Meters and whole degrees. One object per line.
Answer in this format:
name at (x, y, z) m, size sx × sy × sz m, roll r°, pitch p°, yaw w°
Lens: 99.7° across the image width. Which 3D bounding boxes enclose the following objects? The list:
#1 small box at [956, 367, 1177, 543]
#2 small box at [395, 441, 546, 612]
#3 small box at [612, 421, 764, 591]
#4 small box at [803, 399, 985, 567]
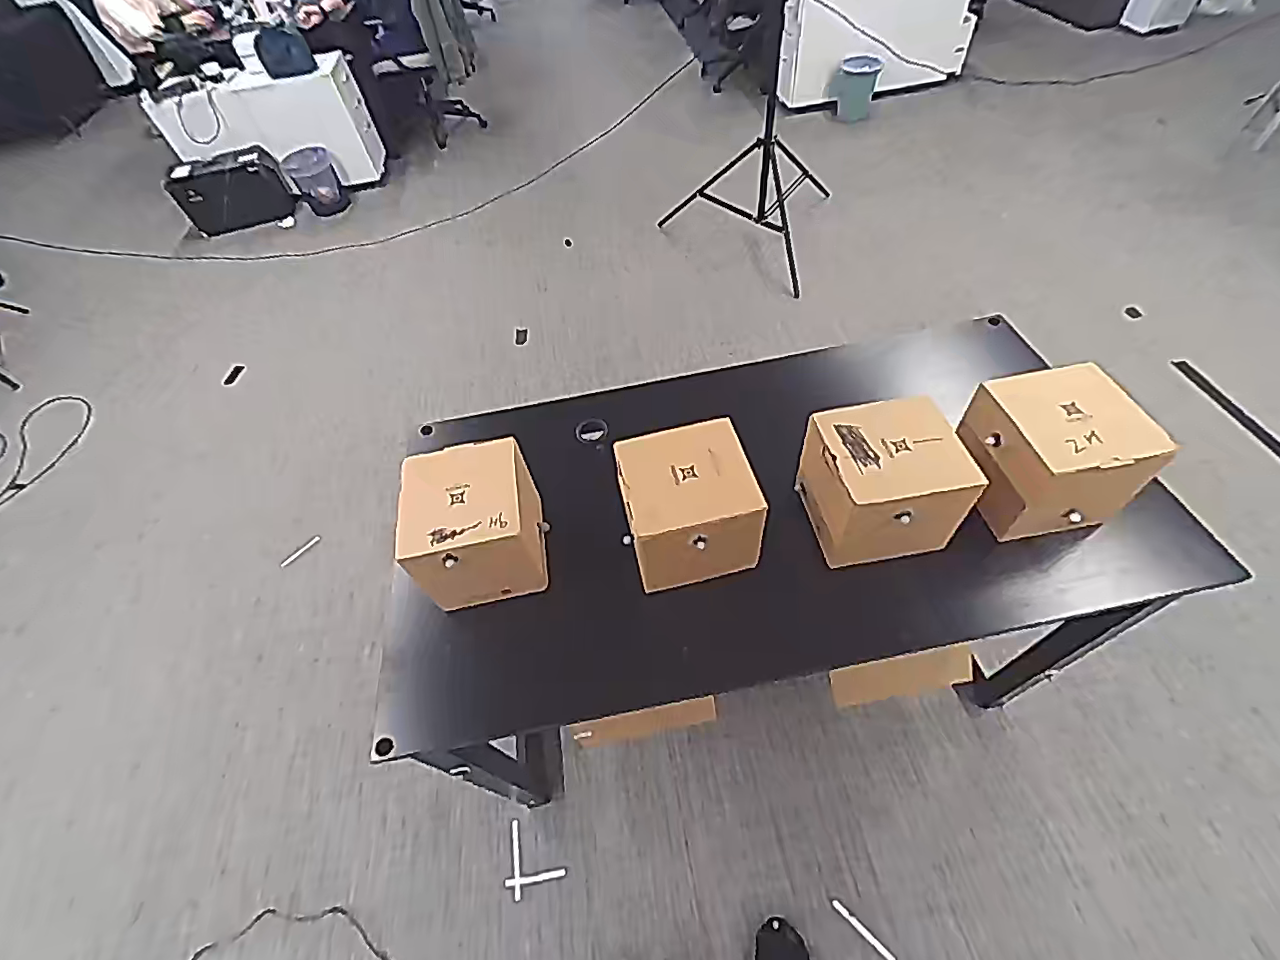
small box at (0.586, -0.034, 0.786) m, size 0.168 × 0.176 × 0.179 m, roll -11°, pitch 52°, yaw 1°
small box at (-0.242, 0.072, 0.808) m, size 0.168 × 0.176 × 0.179 m, roll -12°, pitch 52°, yaw -2°
small box at (0.067, 0.044, 0.795) m, size 0.179 × 0.176 × 0.168 m, roll -13°, pitch 54°, yaw -4°
small box at (0.345, 0.010, 0.784) m, size 0.179 × 0.176 × 0.168 m, roll -10°, pitch 52°, yaw 0°
